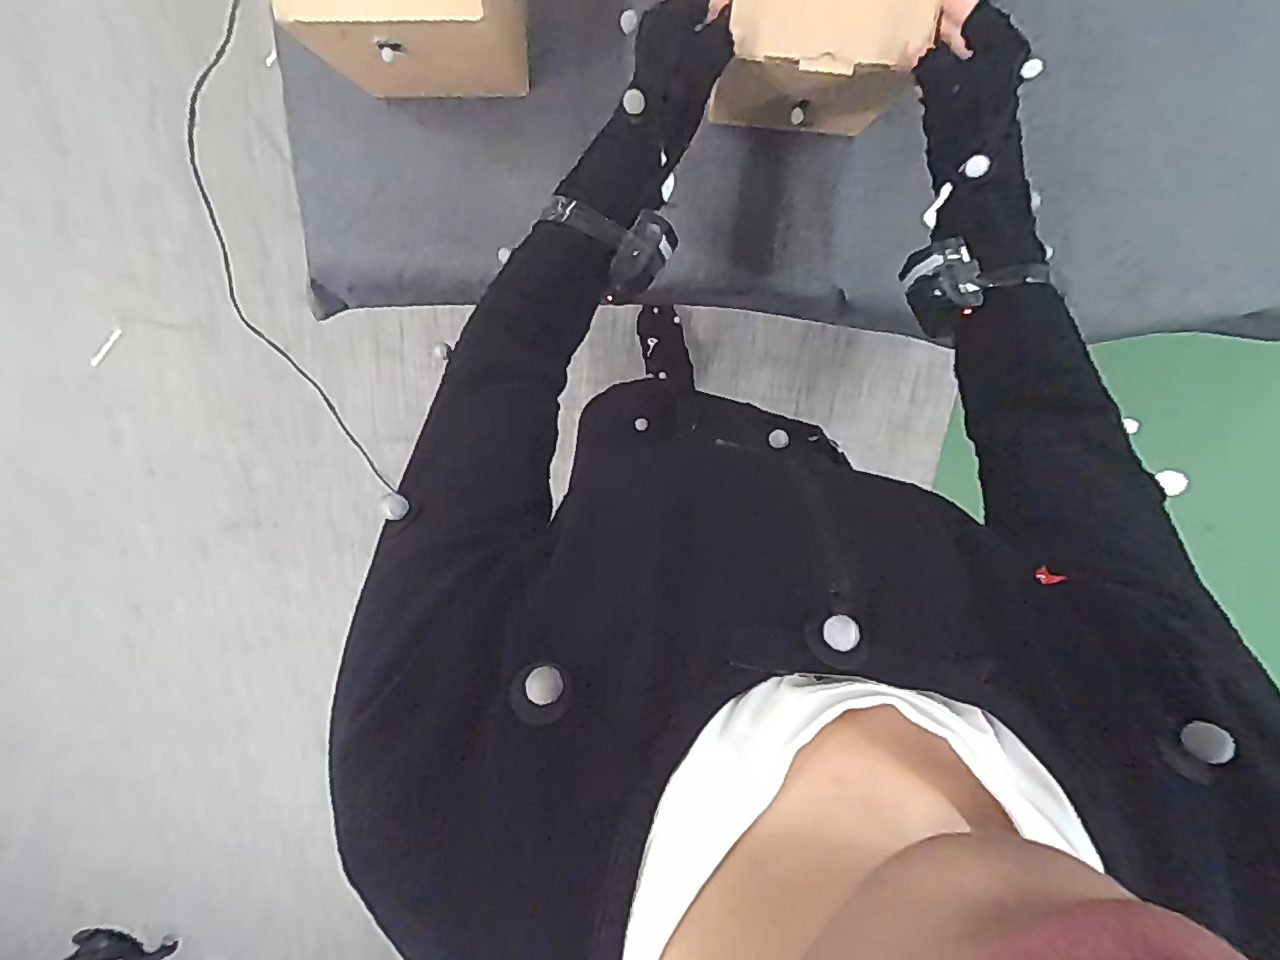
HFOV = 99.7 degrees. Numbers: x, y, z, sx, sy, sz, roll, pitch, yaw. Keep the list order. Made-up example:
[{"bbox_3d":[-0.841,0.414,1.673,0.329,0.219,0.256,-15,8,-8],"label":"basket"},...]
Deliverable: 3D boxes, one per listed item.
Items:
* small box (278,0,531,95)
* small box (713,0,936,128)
[{"bbox_3d":[-0.208,-0.479,0.498,0.179,0.176,0.168,1,108,1],"label":"small box"},{"bbox_3d":[0.161,-0.446,0.495,0.168,0.176,0.179,5,108,1],"label":"small box"}]
